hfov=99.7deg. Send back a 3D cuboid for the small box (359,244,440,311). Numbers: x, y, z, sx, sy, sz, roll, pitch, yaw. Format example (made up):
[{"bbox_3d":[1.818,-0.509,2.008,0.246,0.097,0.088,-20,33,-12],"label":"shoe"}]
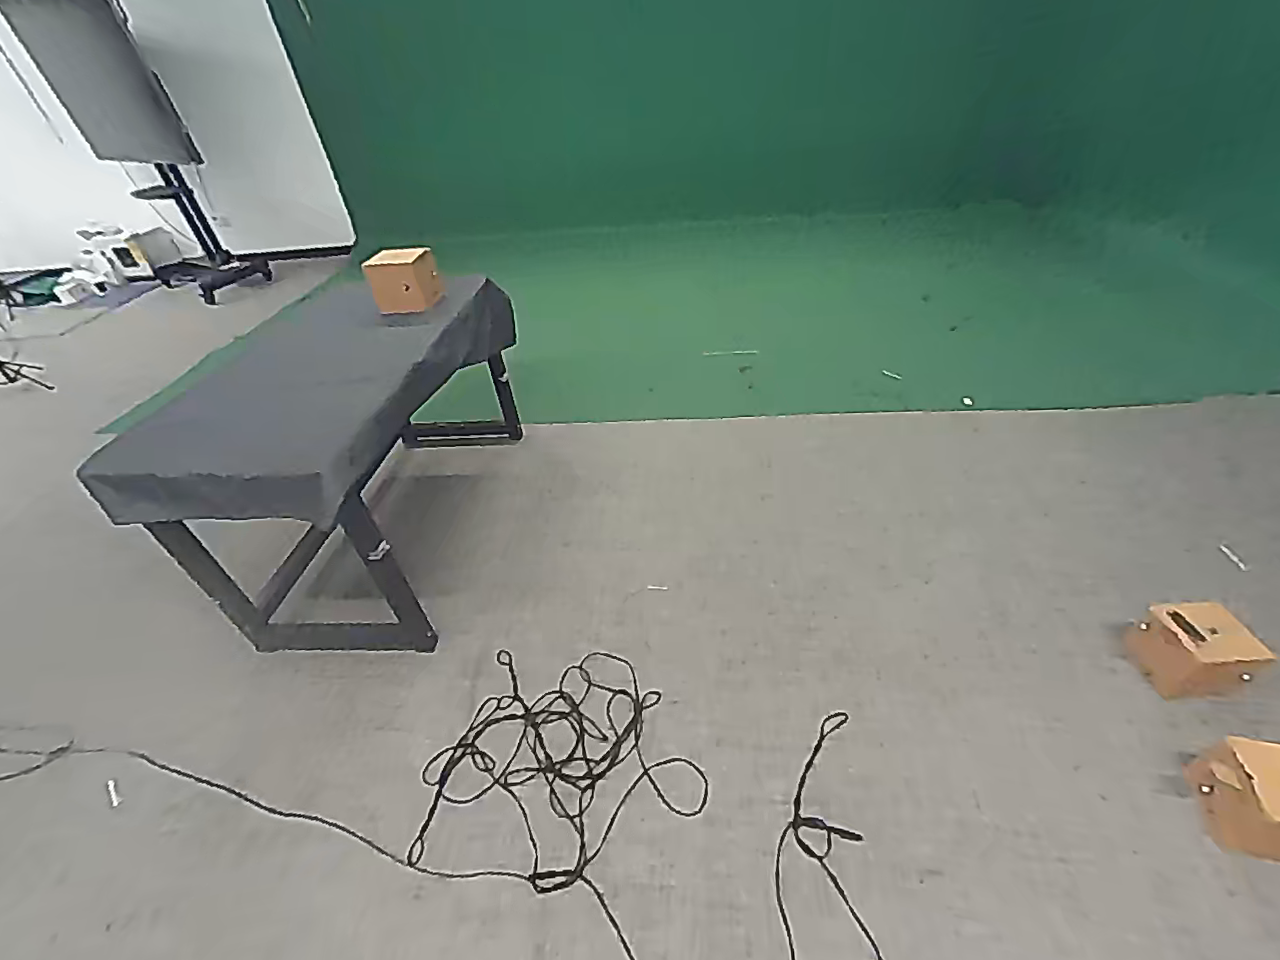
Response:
[{"bbox_3d":[-0.812,-0.692,1.851,0.179,0.176,0.168,-1,38,8],"label":"small box"}]

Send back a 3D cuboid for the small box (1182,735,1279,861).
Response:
[{"bbox_3d":[1.285,0.654,1.101,0.179,0.176,0.168,6,41,14],"label":"small box"}]
